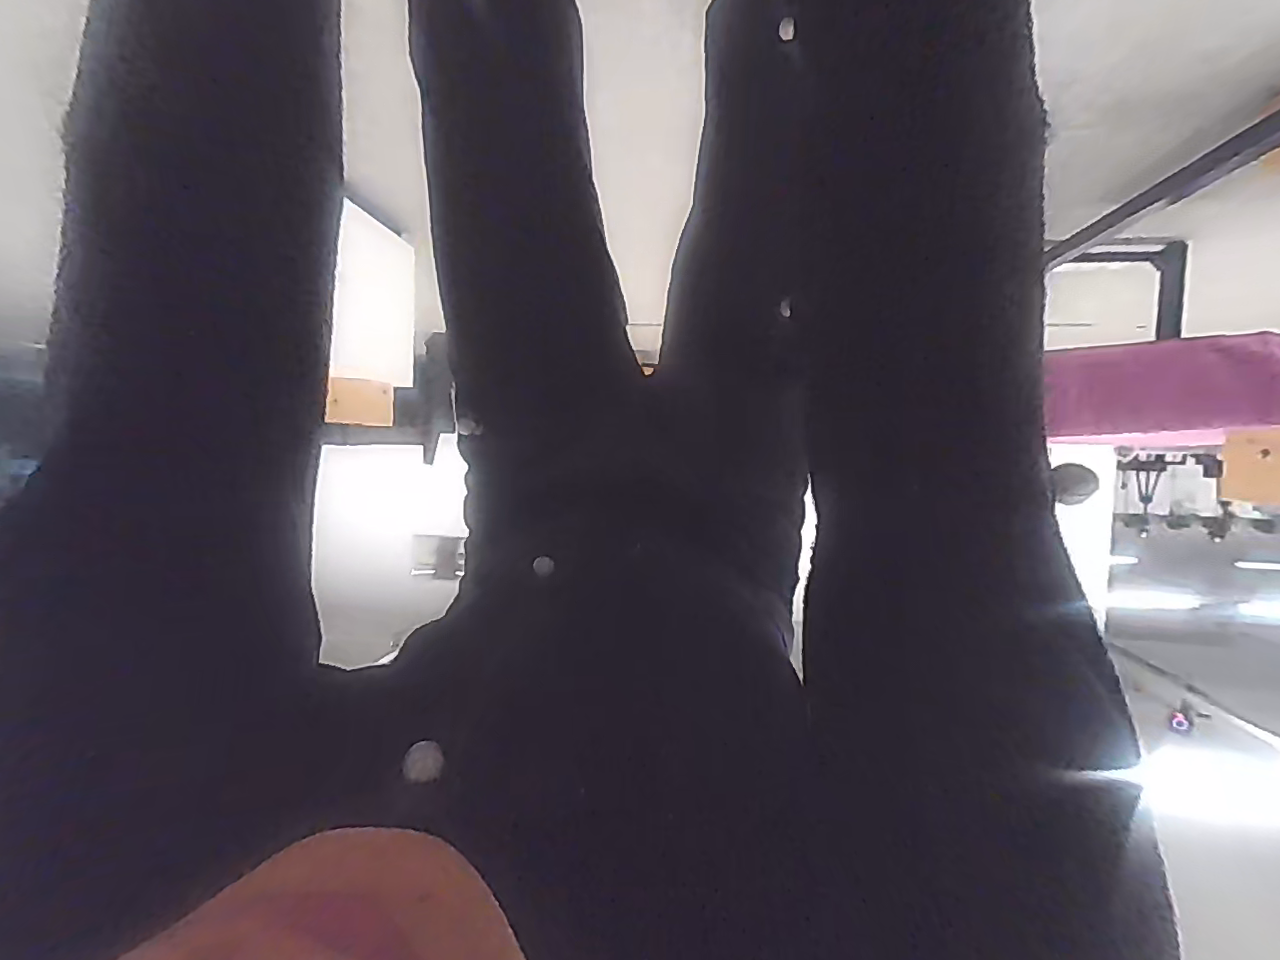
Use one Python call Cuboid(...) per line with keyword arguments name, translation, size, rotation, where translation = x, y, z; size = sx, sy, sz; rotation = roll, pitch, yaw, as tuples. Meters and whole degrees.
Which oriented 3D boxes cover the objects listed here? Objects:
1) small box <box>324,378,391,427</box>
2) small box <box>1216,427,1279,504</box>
Cuboid(name="small box", translation=(-1.067, -0.294, 2.056), size=(0.179, 0.176, 0.168), rotation=(3, -176, 4))
Cuboid(name="small box", translation=(1.482, -0.032, 1.224), size=(0.179, 0.176, 0.168), rotation=(3, -177, 7))
